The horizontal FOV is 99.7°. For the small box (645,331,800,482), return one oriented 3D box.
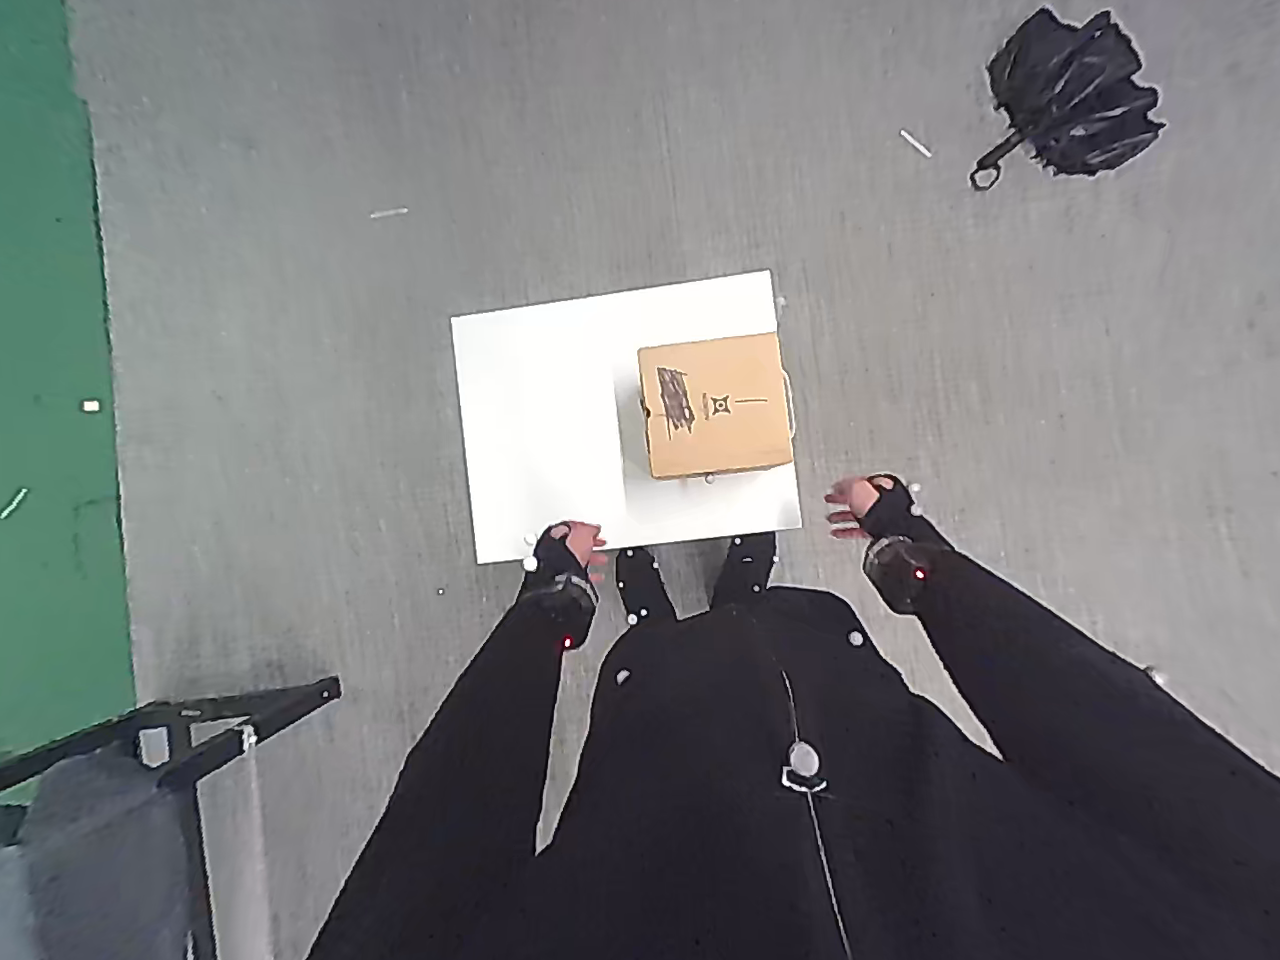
[{"bbox_3d":[0.103,-0.089,0.734,0.179,0.176,0.168,-5,87,1],"label":"small box"}]
